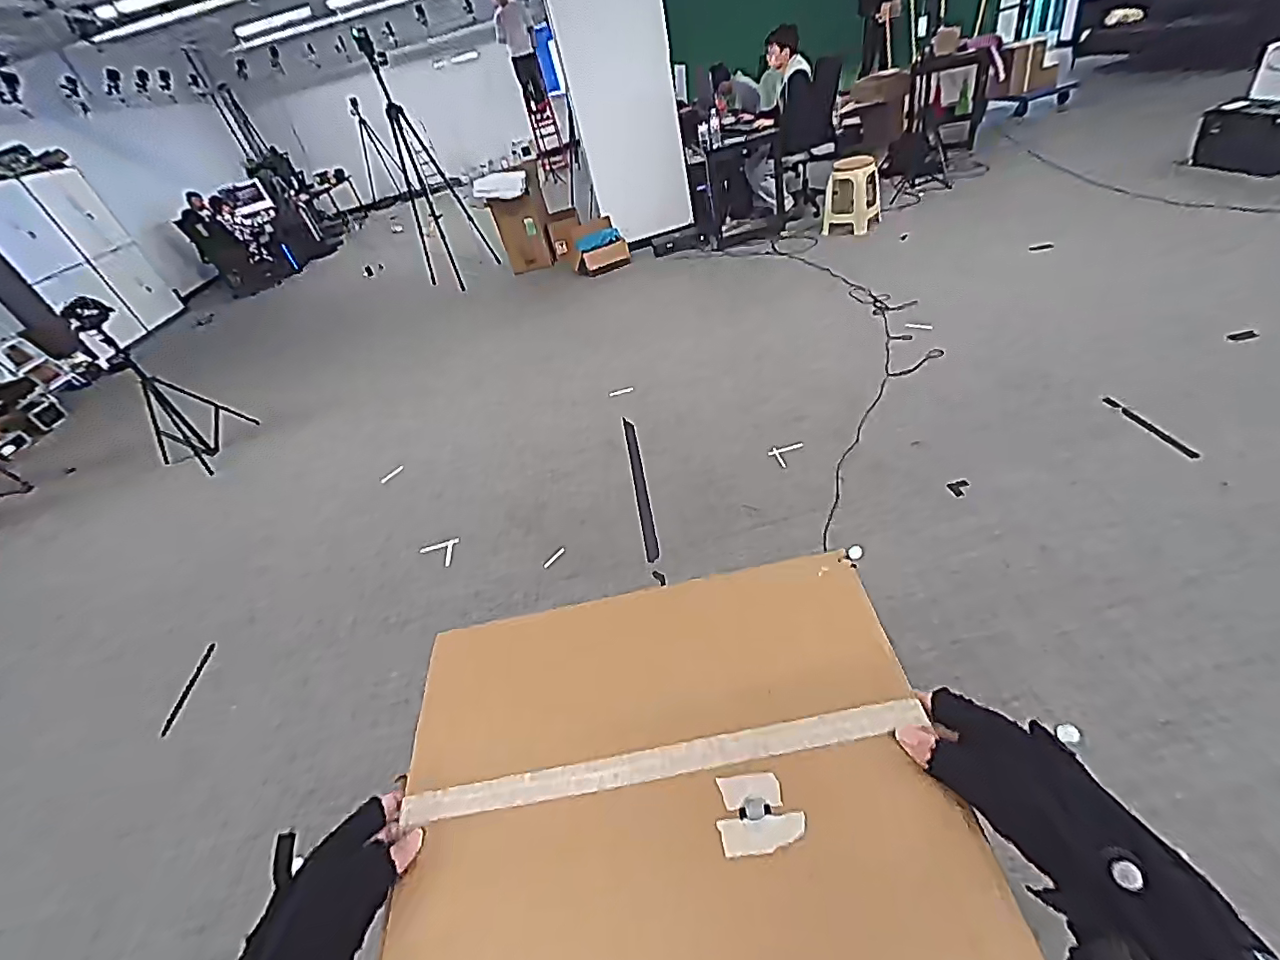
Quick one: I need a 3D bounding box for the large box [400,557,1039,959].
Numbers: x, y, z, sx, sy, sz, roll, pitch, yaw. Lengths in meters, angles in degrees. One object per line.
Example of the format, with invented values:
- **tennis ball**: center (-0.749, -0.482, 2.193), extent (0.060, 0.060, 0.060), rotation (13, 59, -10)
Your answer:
- **large box**: center (0.047, 0.326, 0.524), extent (0.408, 0.320, 0.320), rotation (-12, 45, 3)
